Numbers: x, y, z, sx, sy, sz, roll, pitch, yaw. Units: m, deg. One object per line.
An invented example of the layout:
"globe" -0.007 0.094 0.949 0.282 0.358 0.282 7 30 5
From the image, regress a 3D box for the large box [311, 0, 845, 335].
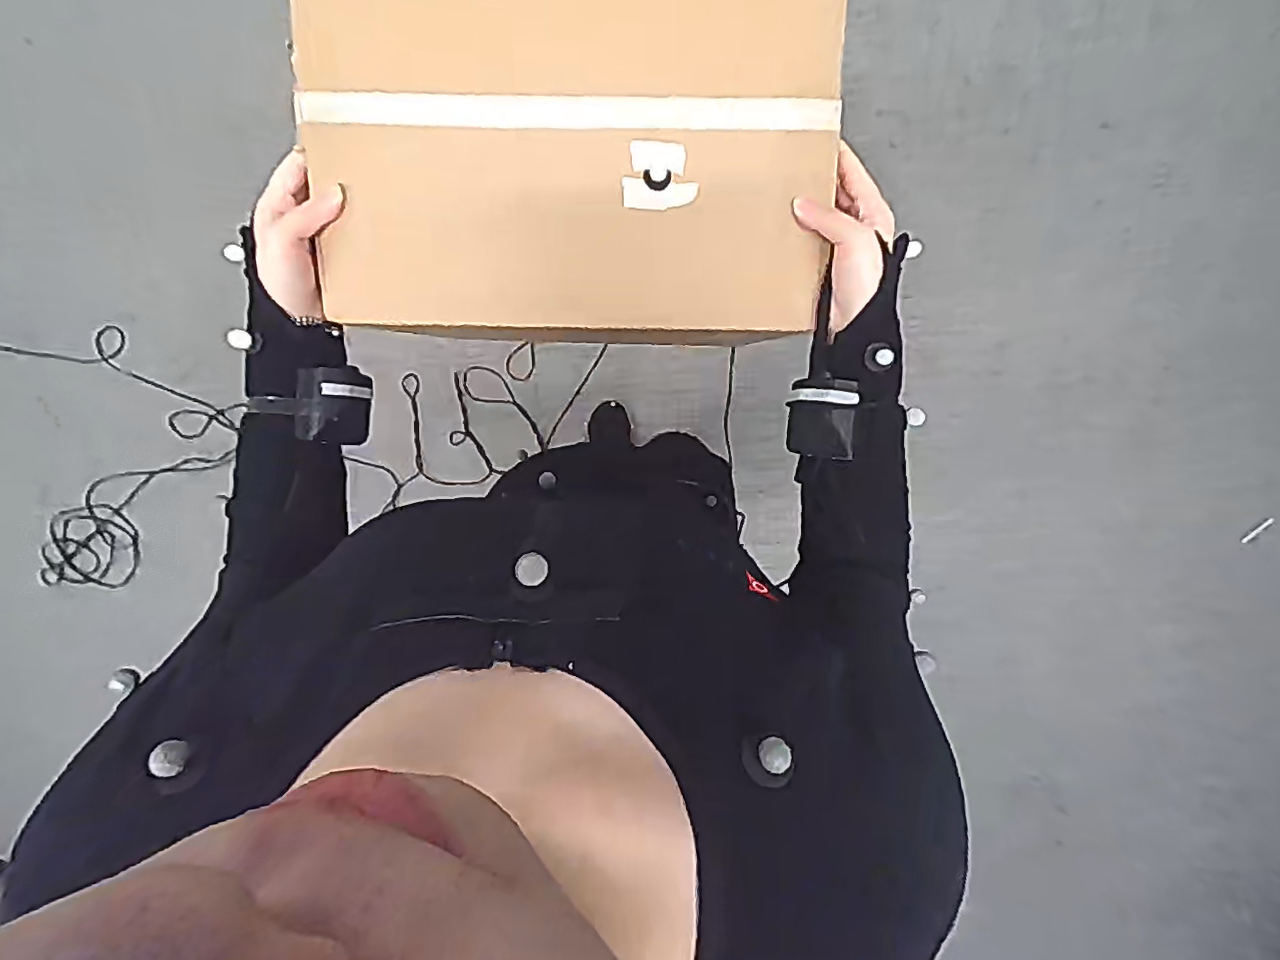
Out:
"large box" -0.050 -0.318 0.561 0.408 0.320 0.320 1 103 -2
